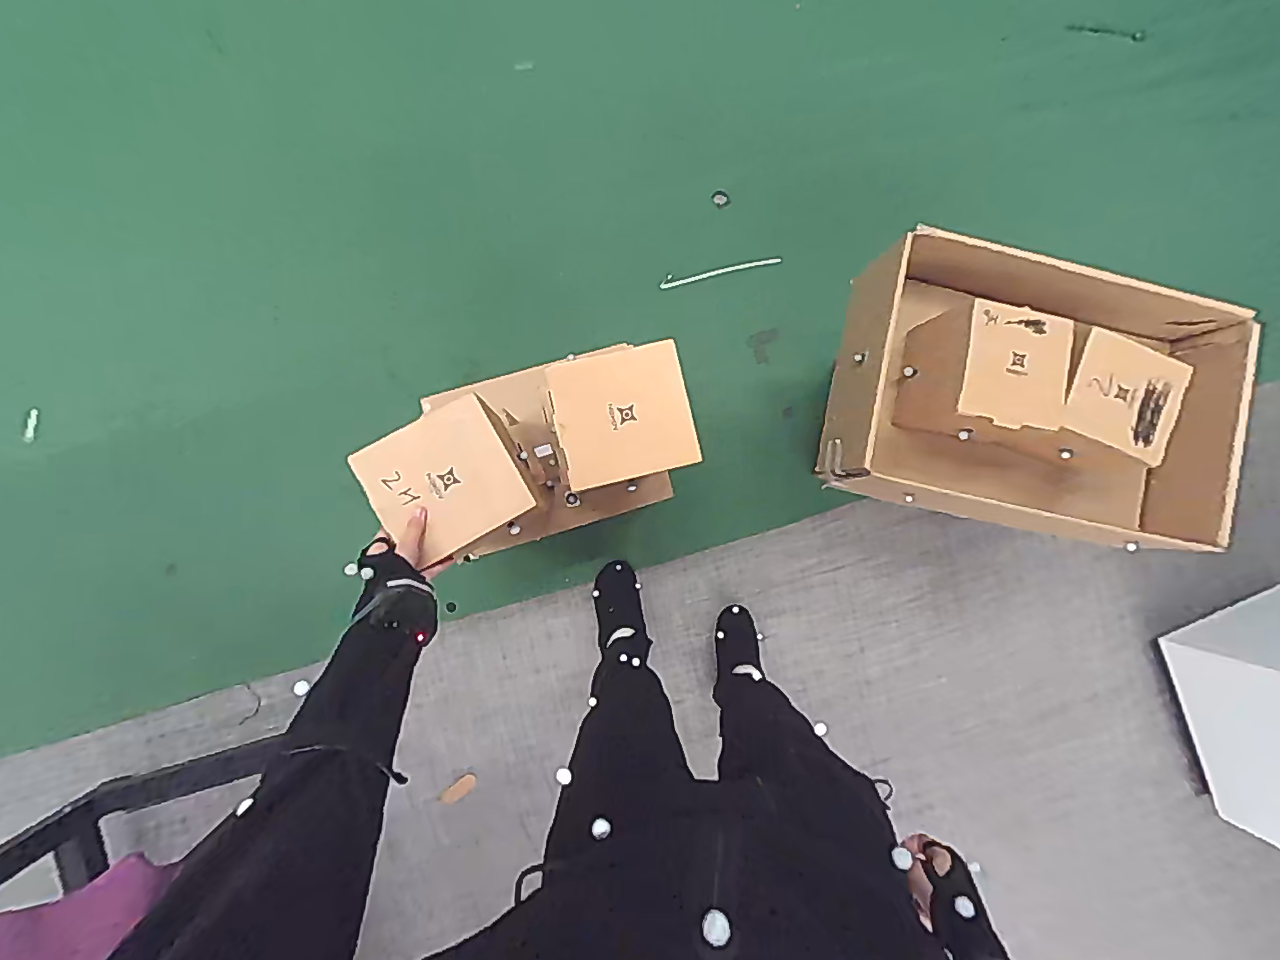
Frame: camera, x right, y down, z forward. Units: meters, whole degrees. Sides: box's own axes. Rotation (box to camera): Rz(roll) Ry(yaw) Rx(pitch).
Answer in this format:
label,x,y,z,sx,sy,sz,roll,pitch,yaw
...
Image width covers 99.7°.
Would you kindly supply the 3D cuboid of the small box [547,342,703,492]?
label,x,y,z,sx,sy,sz,roll,pitch,yaw
small box,-0.025,-0.084,0.776,0.179,0.176,0.168,-14,91,-4
